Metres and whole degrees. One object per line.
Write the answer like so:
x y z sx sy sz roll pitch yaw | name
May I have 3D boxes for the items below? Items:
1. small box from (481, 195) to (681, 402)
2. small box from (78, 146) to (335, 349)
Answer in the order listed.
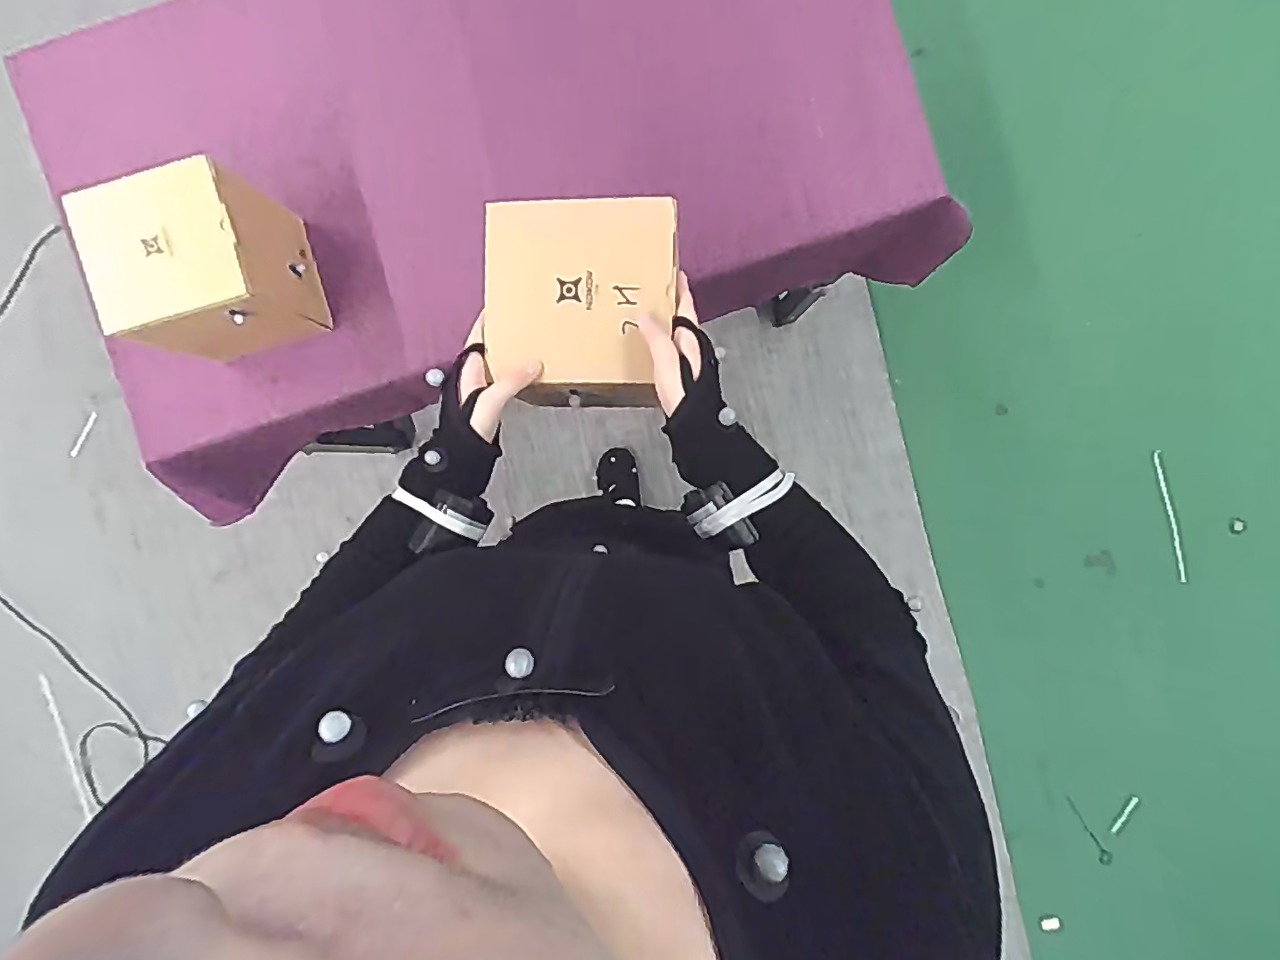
-0.050 -0.175 0.568 0.179 0.176 0.168 2 91 5 | small box
-0.542 -0.283 0.700 0.179 0.176 0.168 -16 91 1 | small box
